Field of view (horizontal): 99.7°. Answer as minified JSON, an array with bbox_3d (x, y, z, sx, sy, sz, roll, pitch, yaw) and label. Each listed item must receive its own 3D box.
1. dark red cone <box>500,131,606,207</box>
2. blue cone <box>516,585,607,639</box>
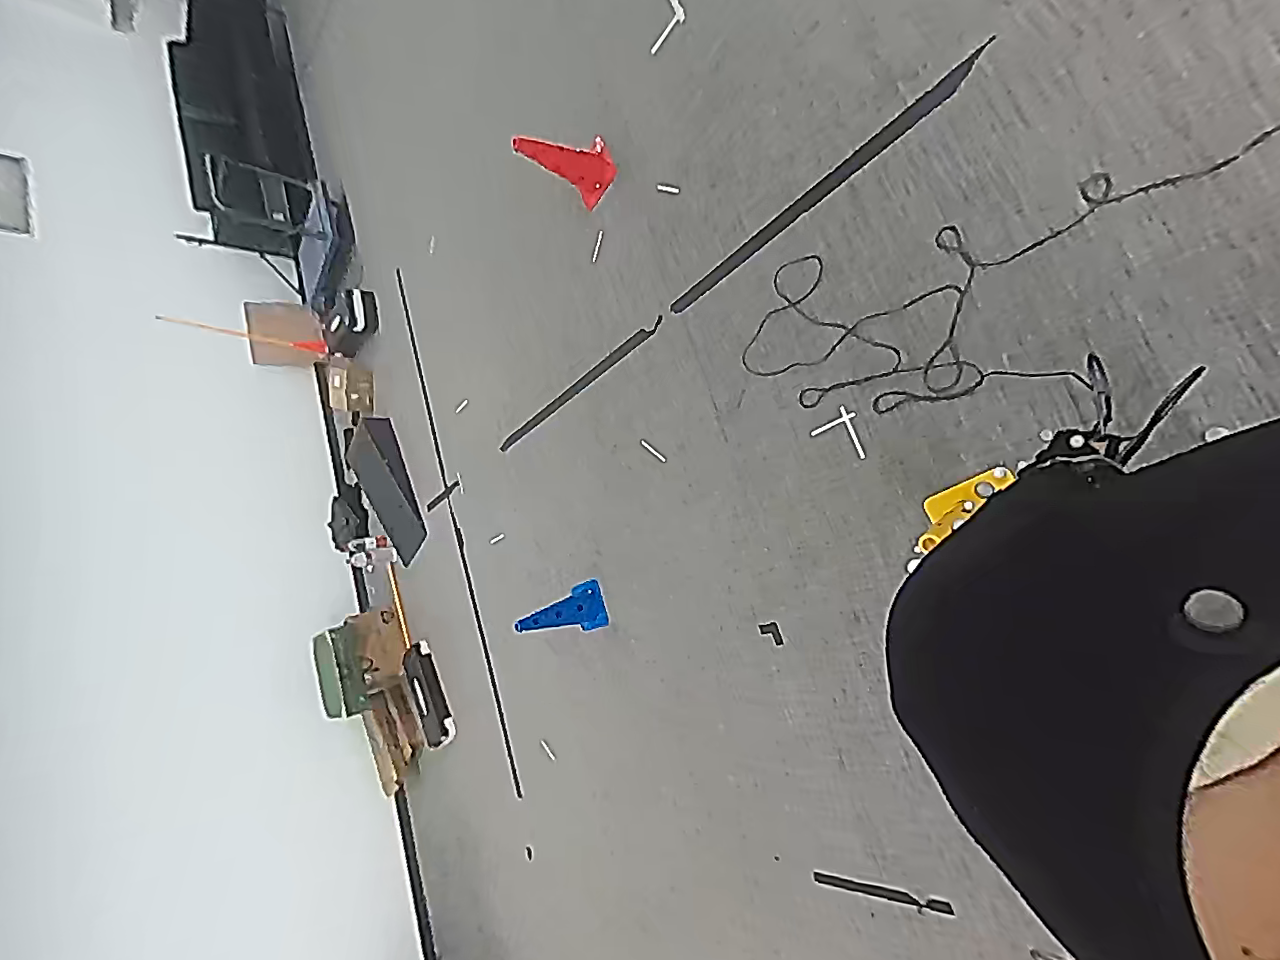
[{"bbox_3d":[-0.327,-1.178,1.966,0.202,0.394,0.201,-38,68,42],"label":"dark red cone"},{"bbox_3d":[-0.335,0.567,2.199,0.193,0.380,0.192,-27,75,45],"label":"blue cone"}]
